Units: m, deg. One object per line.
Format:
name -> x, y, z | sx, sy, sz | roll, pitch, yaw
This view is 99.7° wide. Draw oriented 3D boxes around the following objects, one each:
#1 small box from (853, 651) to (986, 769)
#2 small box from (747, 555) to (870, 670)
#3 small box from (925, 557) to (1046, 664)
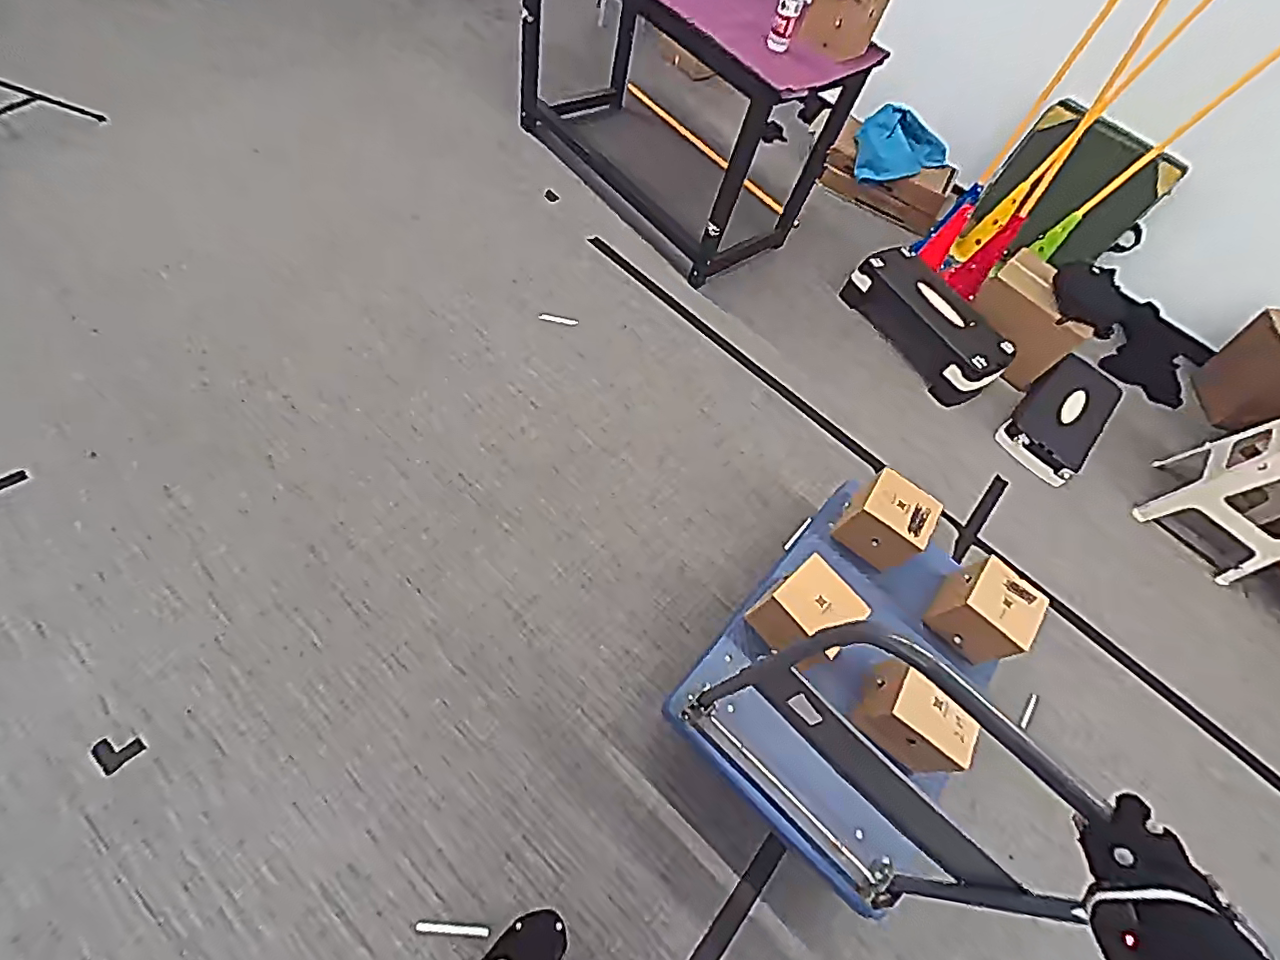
small box -> 0.604, 0.511, 1.187 | 0.179, 0.176, 0.168 | 37, 59, 9
small box -> 0.379, 0.311, 1.247 | 0.168, 0.176, 0.179 | -35, 75, -29
small box -> 0.856, 0.329, 1.353 | 0.168, 0.176, 0.179 | 42, 61, 12
